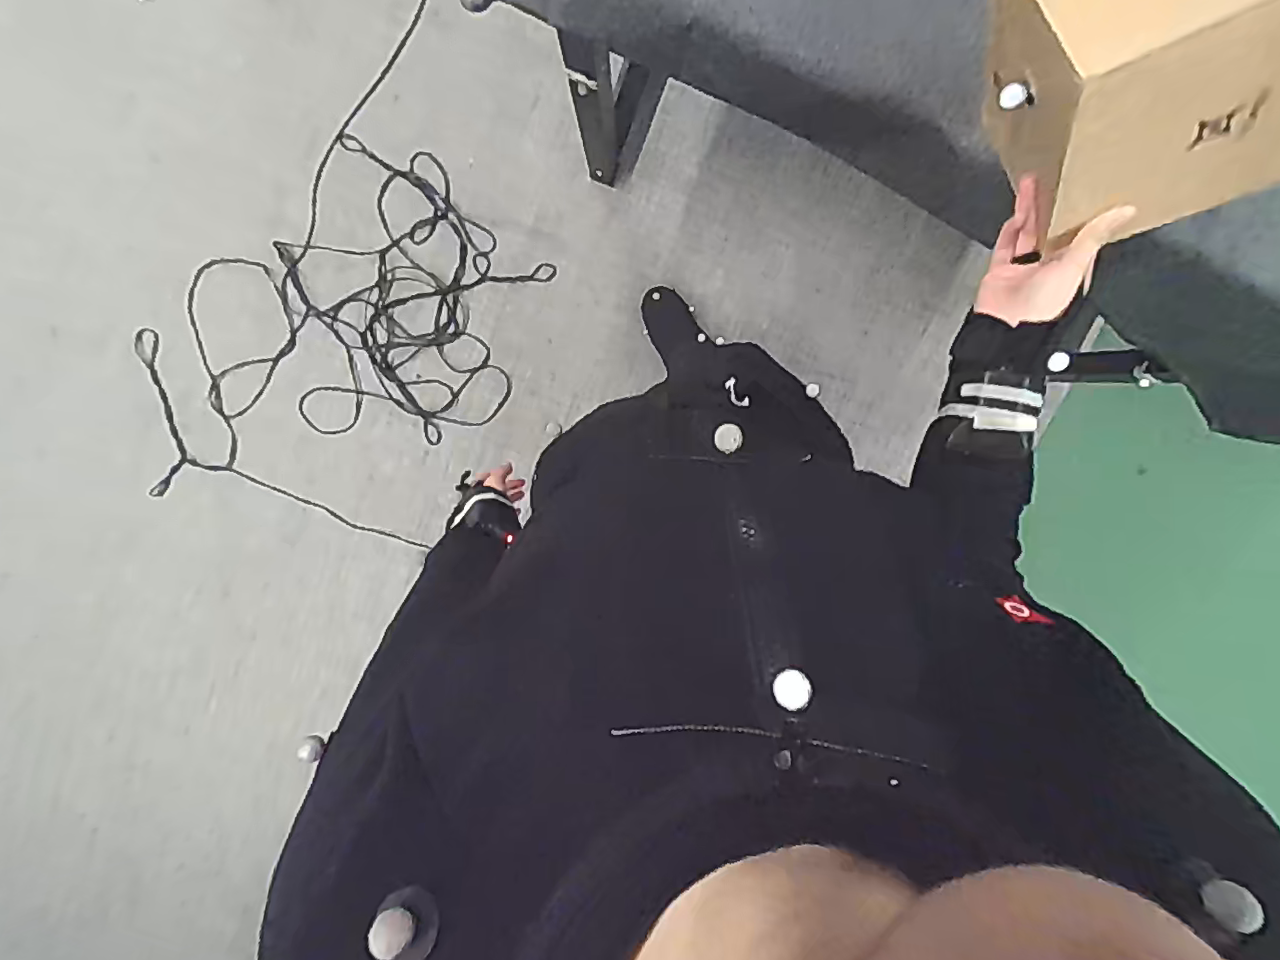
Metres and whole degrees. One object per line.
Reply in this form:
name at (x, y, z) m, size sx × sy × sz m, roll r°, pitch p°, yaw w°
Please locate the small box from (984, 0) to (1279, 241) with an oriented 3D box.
small box at (0.347, -0.307, 0.354) m, size 0.179 × 0.168 × 0.176 m, roll -18°, pitch 64°, yaw 26°
